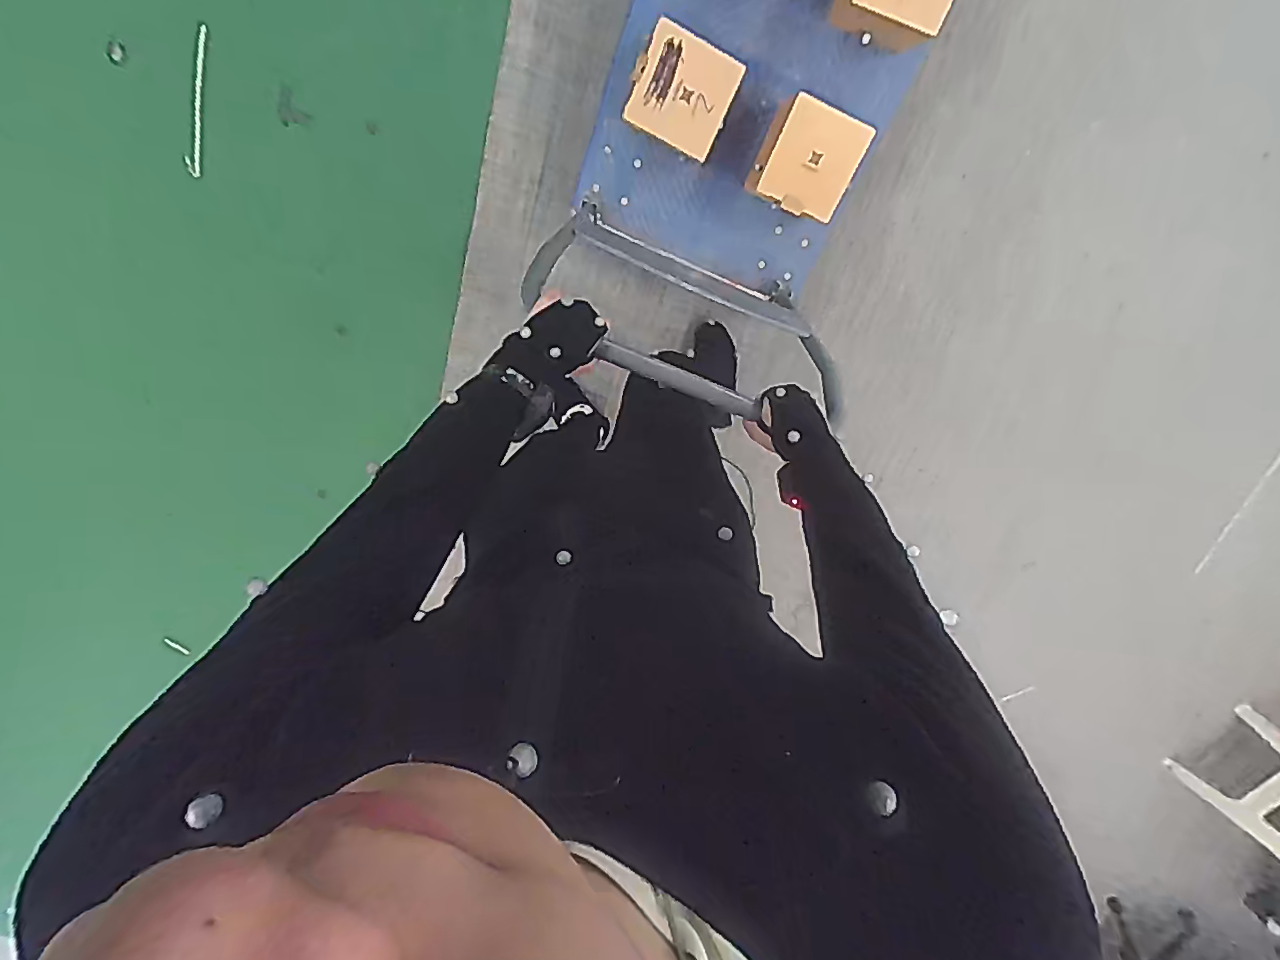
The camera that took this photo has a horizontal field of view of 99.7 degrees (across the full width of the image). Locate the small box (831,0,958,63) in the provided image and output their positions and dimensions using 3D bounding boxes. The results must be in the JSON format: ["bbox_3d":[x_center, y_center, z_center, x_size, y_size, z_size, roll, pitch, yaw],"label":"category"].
[{"bbox_3d":[0.466,-0.885,0.962,0.168,0.176,0.179,17,119,-7],"label":"small box"}]

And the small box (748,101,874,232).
[{"bbox_3d":[0.336,-0.637,1.109,0.168,0.176,0.179,20,119,-10],"label":"small box"}]
